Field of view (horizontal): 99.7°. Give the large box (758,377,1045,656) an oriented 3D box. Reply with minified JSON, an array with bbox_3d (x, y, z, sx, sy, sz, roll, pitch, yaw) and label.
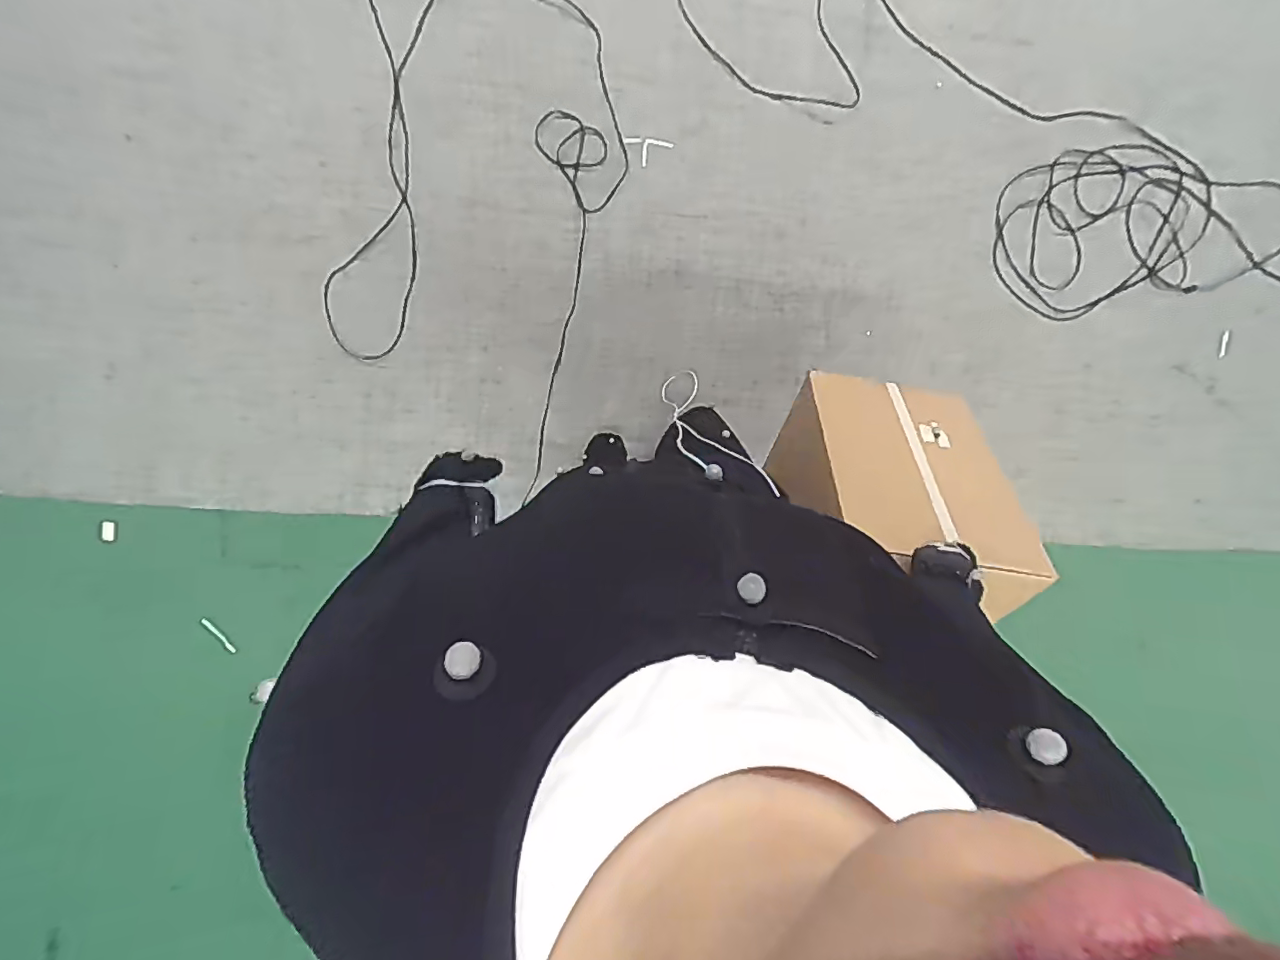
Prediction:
[{"bbox_3d":[0.429,0.069,1.013,0.320,0.408,0.320,9,138,-5],"label":"large box"}]
